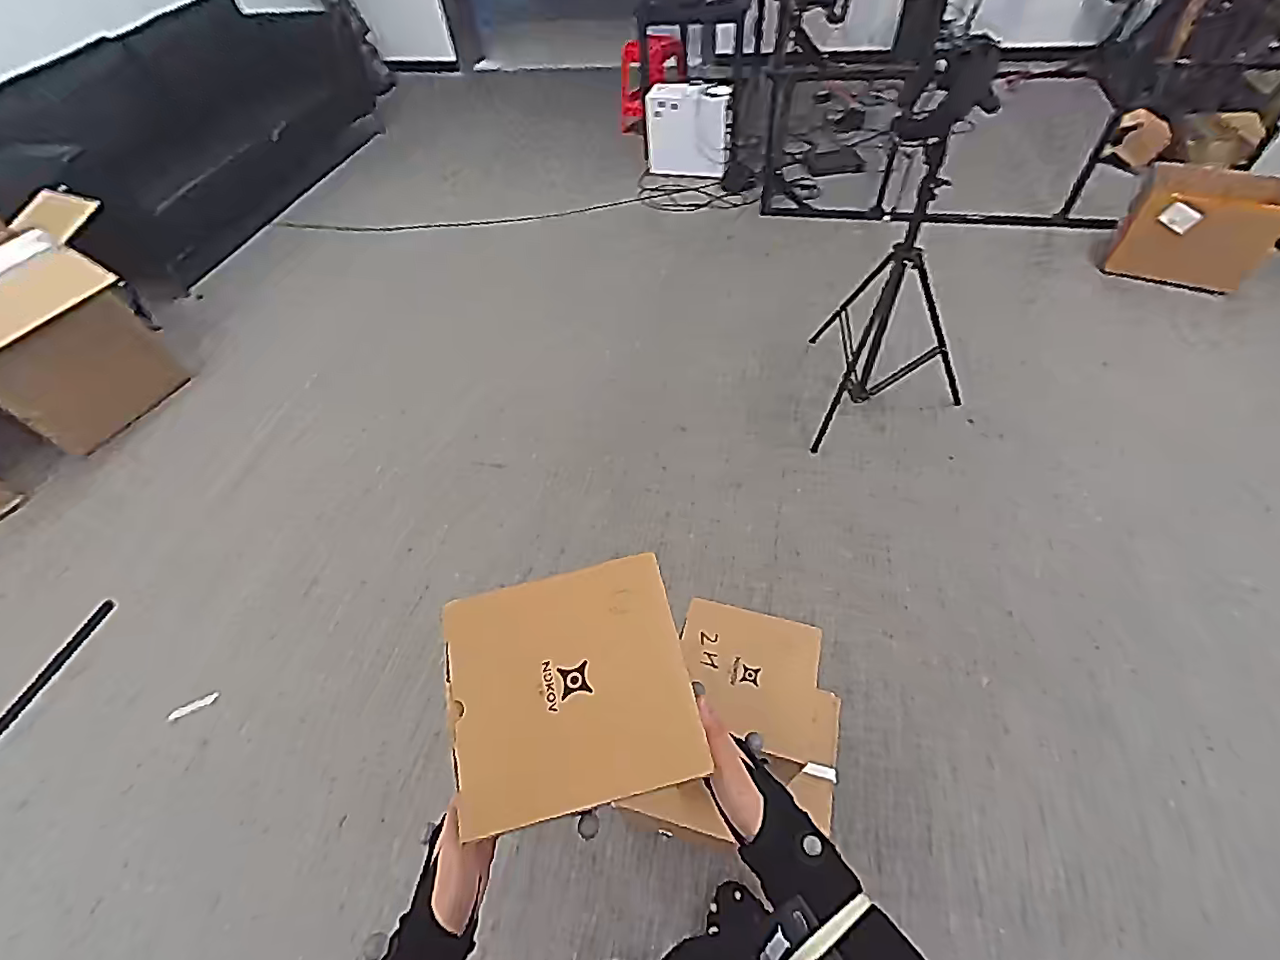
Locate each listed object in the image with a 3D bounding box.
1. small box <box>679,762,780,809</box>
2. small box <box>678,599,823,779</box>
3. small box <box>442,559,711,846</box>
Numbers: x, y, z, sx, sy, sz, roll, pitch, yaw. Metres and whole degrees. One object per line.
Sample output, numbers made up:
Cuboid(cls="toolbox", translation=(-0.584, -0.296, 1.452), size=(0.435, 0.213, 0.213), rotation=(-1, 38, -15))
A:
Cuboid(cls="small box", translation=(0.164, 0.489, 0.993), size=(0.179, 0.176, 0.168), rotation=(8, 55, 11))
Cuboid(cls="small box", translation=(0.135, 0.288, 0.734), size=(0.179, 0.176, 0.168), rotation=(11, 55, 14))
Cuboid(cls="small box", translation=(-0.051, 0.188, 0.469), size=(0.179, 0.176, 0.168), rotation=(-14, 62, -4))
